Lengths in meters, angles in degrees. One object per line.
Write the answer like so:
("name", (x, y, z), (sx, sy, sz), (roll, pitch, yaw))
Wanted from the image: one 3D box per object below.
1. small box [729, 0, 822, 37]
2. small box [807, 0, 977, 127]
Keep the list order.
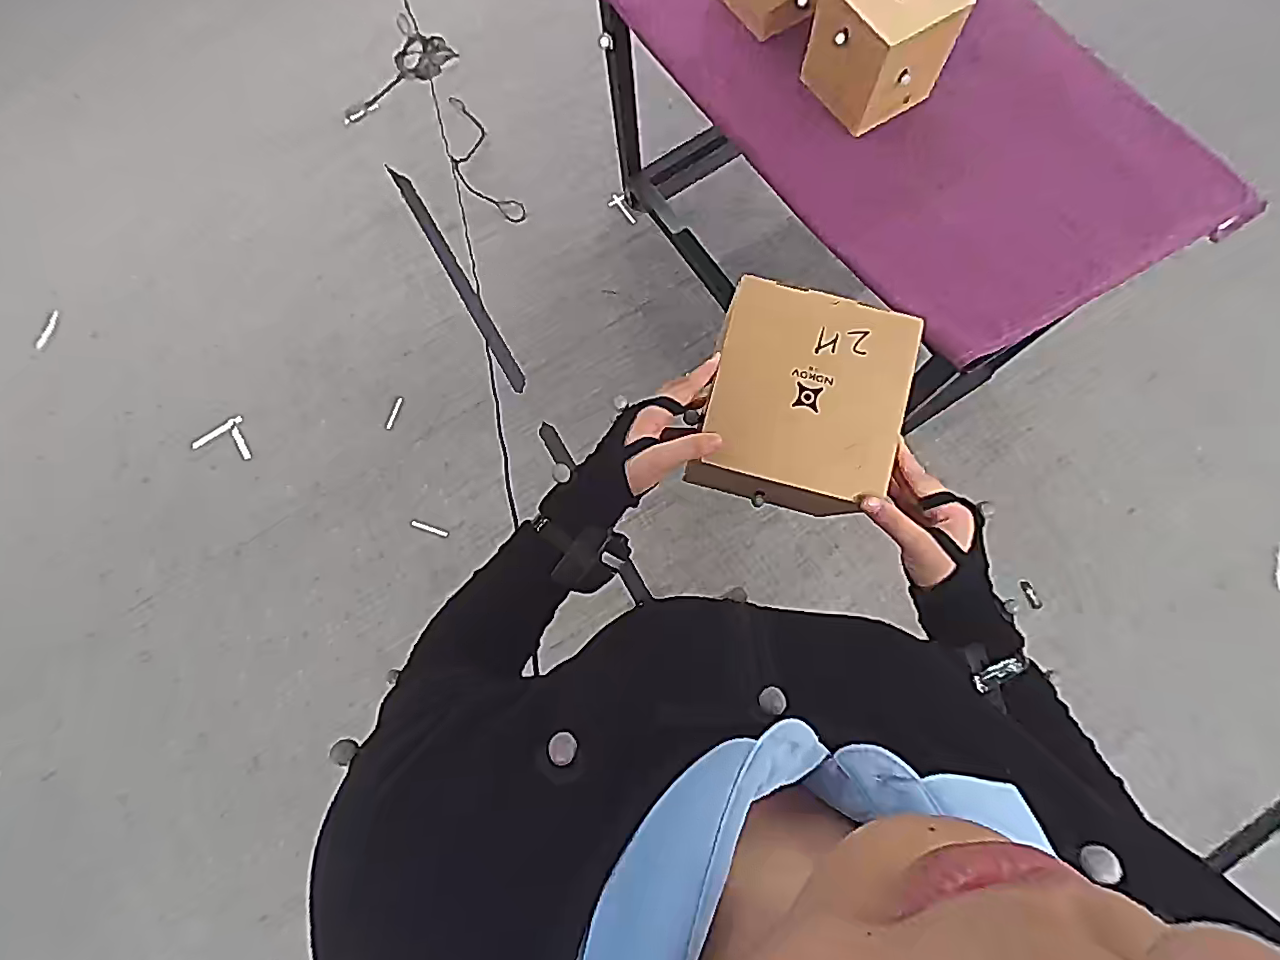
("small box", (0.261, -0.980, 0.994), (0.168, 0.176, 0.179), (-32, 77, -4))
("small box", (0.417, -0.750, 0.929), (0.168, 0.176, 0.179), (-31, 76, -4))
